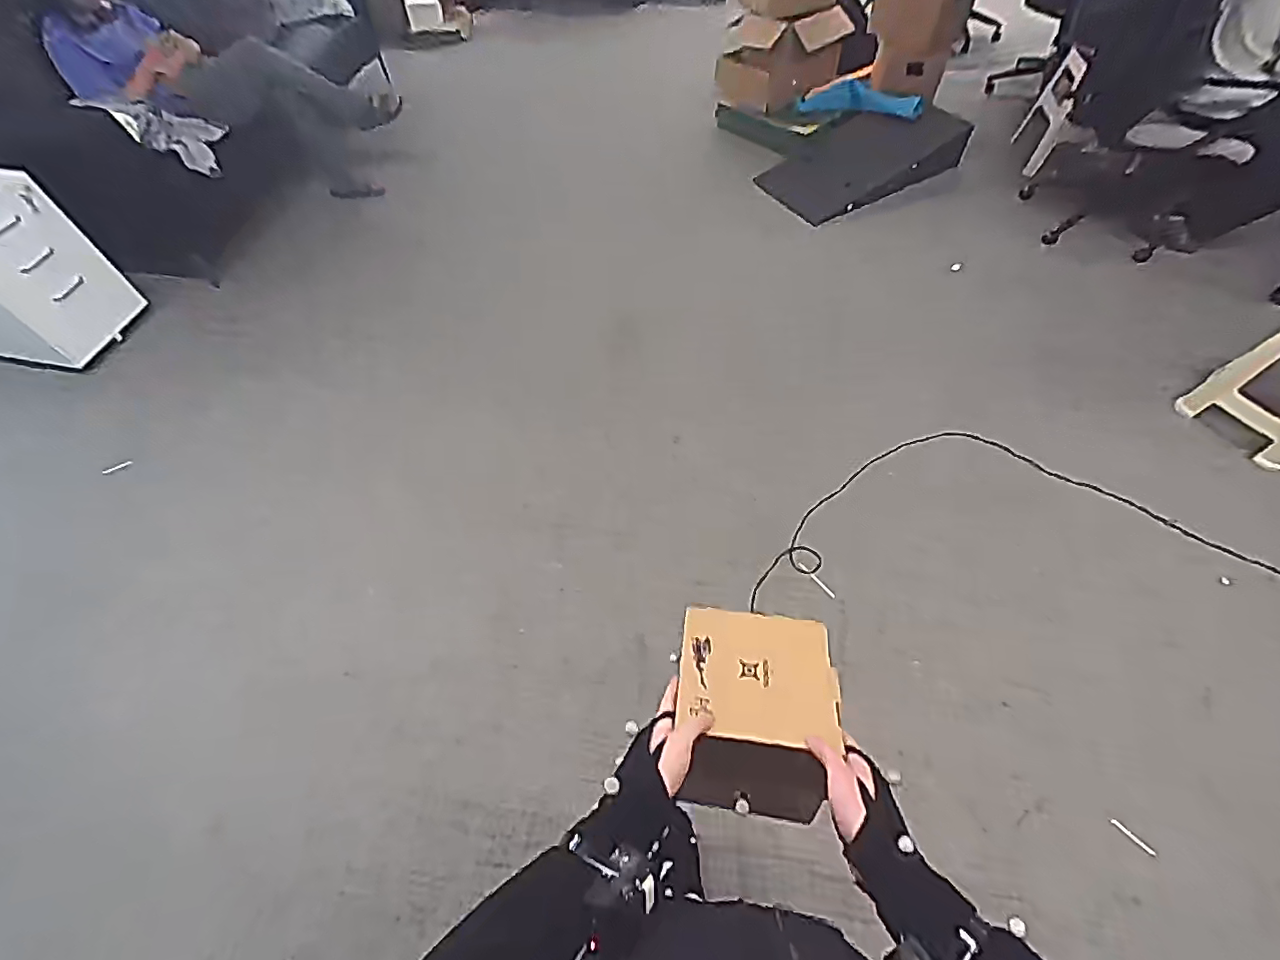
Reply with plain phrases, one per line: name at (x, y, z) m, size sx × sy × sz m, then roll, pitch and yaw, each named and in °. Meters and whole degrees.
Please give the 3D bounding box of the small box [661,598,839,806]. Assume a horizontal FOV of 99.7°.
small box at (0.126, 0.274, 0.667) m, size 0.179 × 0.176 × 0.168 m, roll 7°, pitch 38°, yaw 5°
